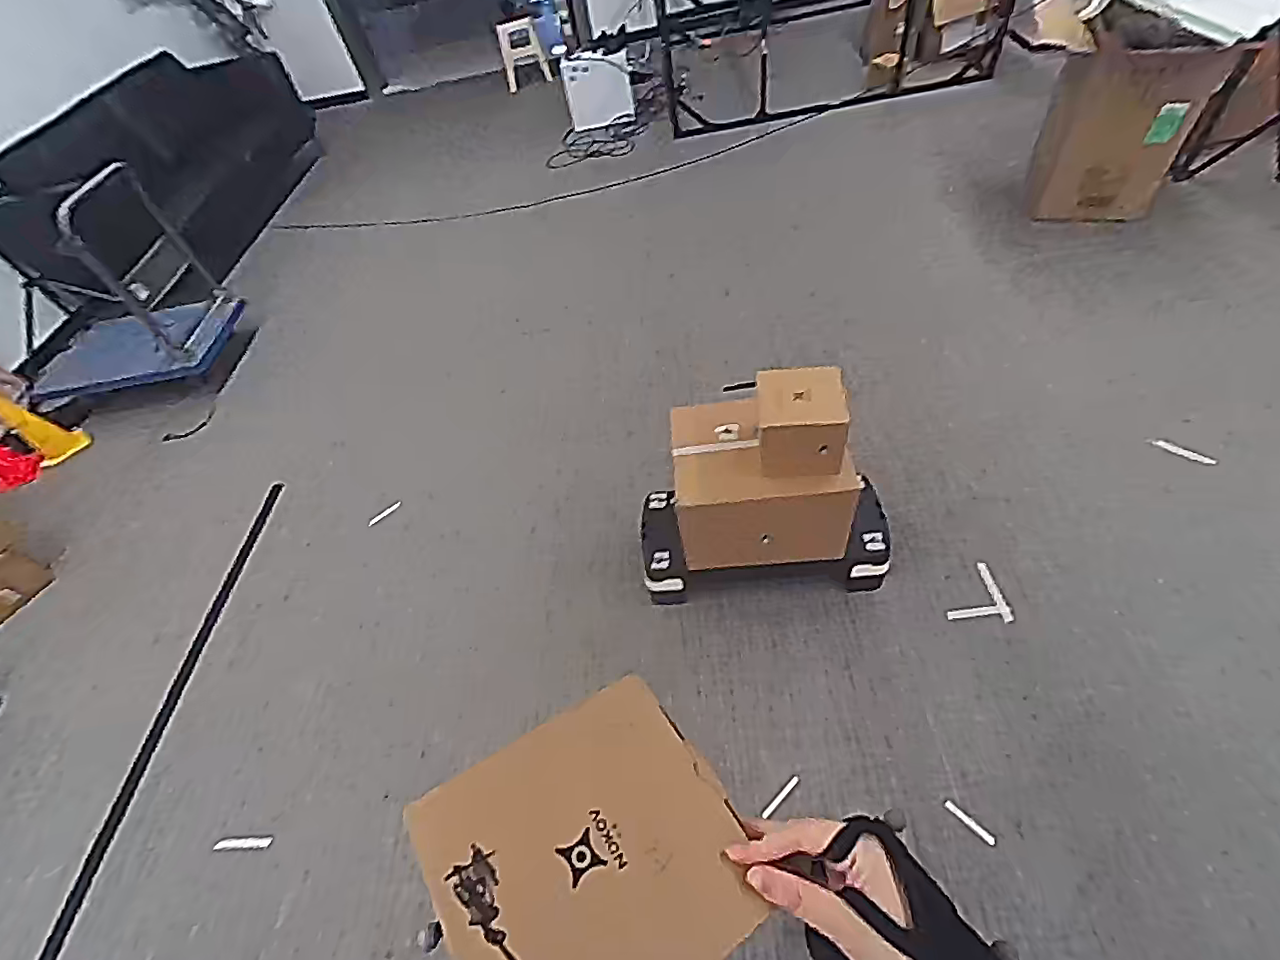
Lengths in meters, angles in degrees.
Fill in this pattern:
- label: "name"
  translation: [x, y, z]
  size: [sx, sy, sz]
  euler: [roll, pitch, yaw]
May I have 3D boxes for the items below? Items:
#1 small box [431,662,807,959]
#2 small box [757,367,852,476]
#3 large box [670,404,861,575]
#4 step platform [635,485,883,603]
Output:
- label: "small box"
  translation: [-0.025, 0.267, 0.372]
  size: [0.179, 0.176, 0.168]
  euler: [-18, 46, -29]
- label: "small box"
  translation: [0.347, -0.121, 1.170]
  size: [0.179, 0.176, 0.168]
  euler: [-2, 53, 11]
- label: "large box"
  translation: [0.304, 0.021, 1.383]
  size: [0.408, 0.320, 0.320]
  euler: [-7, 51, 8]
- label: "step platform"
  translation: [0.327, 0.182, 1.559]
  size: [0.684, 0.204, 0.286]
  euler: [-3, 52, 11]
